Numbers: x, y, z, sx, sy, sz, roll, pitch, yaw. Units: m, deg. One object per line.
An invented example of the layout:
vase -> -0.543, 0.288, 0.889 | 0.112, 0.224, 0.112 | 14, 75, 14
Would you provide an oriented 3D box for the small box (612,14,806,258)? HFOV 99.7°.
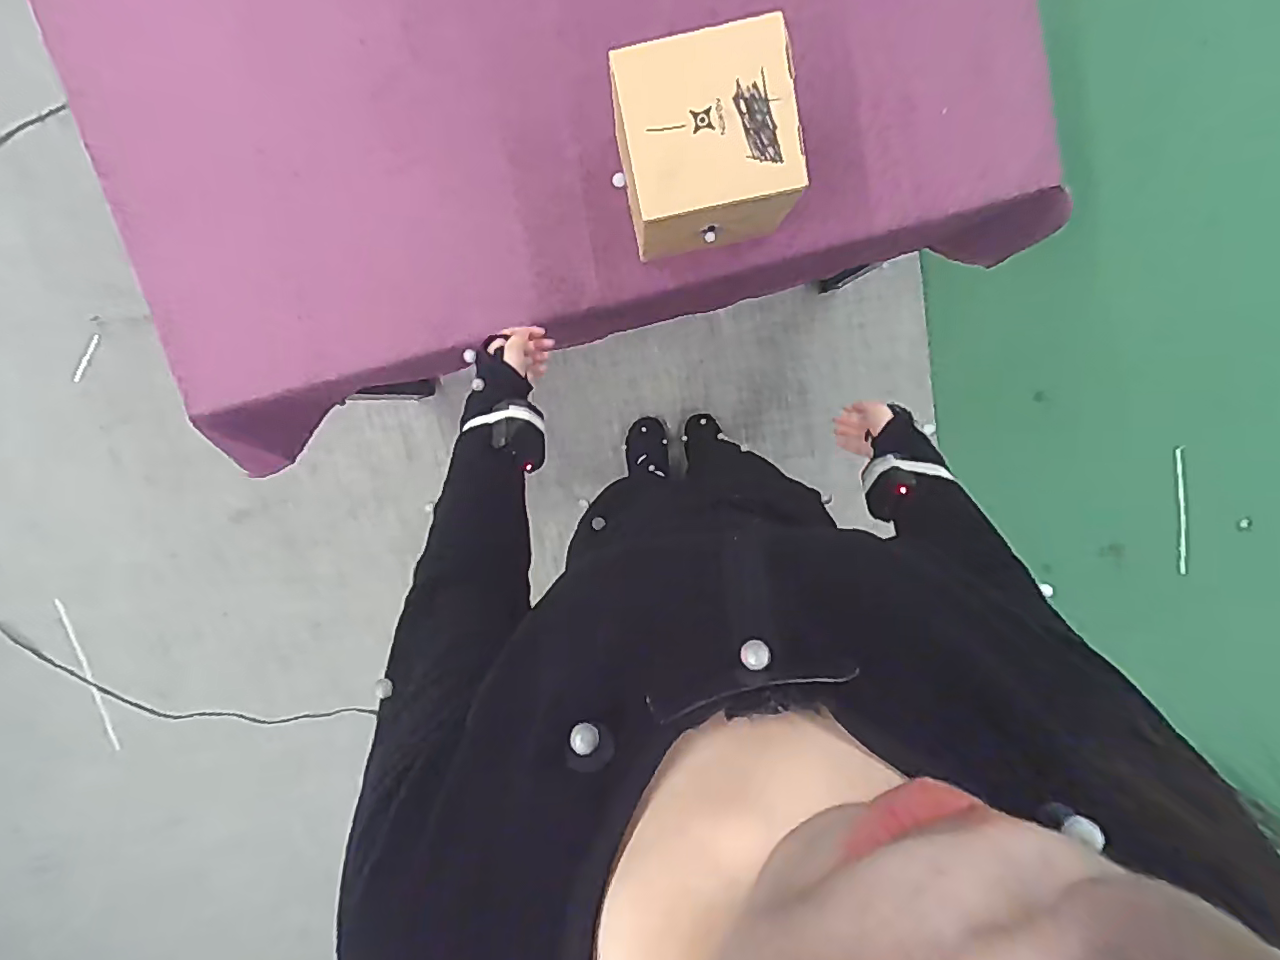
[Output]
small box -> 0.070, -0.371, 0.617 | 0.179, 0.176, 0.168 | -11, 98, 2
